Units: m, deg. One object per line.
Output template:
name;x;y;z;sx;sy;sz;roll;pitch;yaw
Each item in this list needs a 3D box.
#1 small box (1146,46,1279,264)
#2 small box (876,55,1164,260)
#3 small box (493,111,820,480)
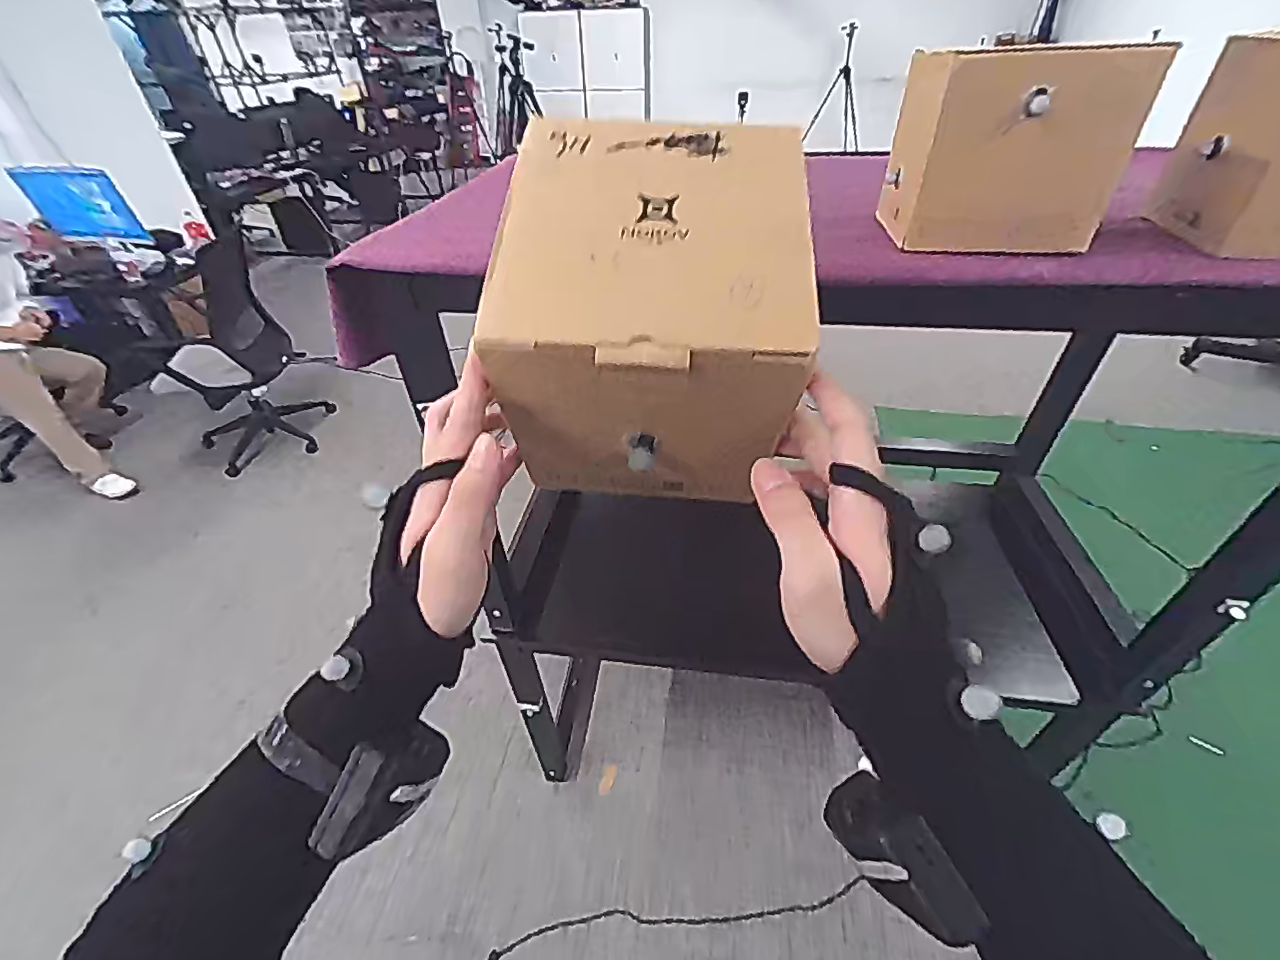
small box;0.654;-0.316;0.527;0.179;0.176;0.168;6;41;11
small box;0.372;-0.340;0.574;0.179;0.176;0.168;4;38;9
small box;0.015;-0.112;0.370;0.168;0.176;0.179;4;65;2
